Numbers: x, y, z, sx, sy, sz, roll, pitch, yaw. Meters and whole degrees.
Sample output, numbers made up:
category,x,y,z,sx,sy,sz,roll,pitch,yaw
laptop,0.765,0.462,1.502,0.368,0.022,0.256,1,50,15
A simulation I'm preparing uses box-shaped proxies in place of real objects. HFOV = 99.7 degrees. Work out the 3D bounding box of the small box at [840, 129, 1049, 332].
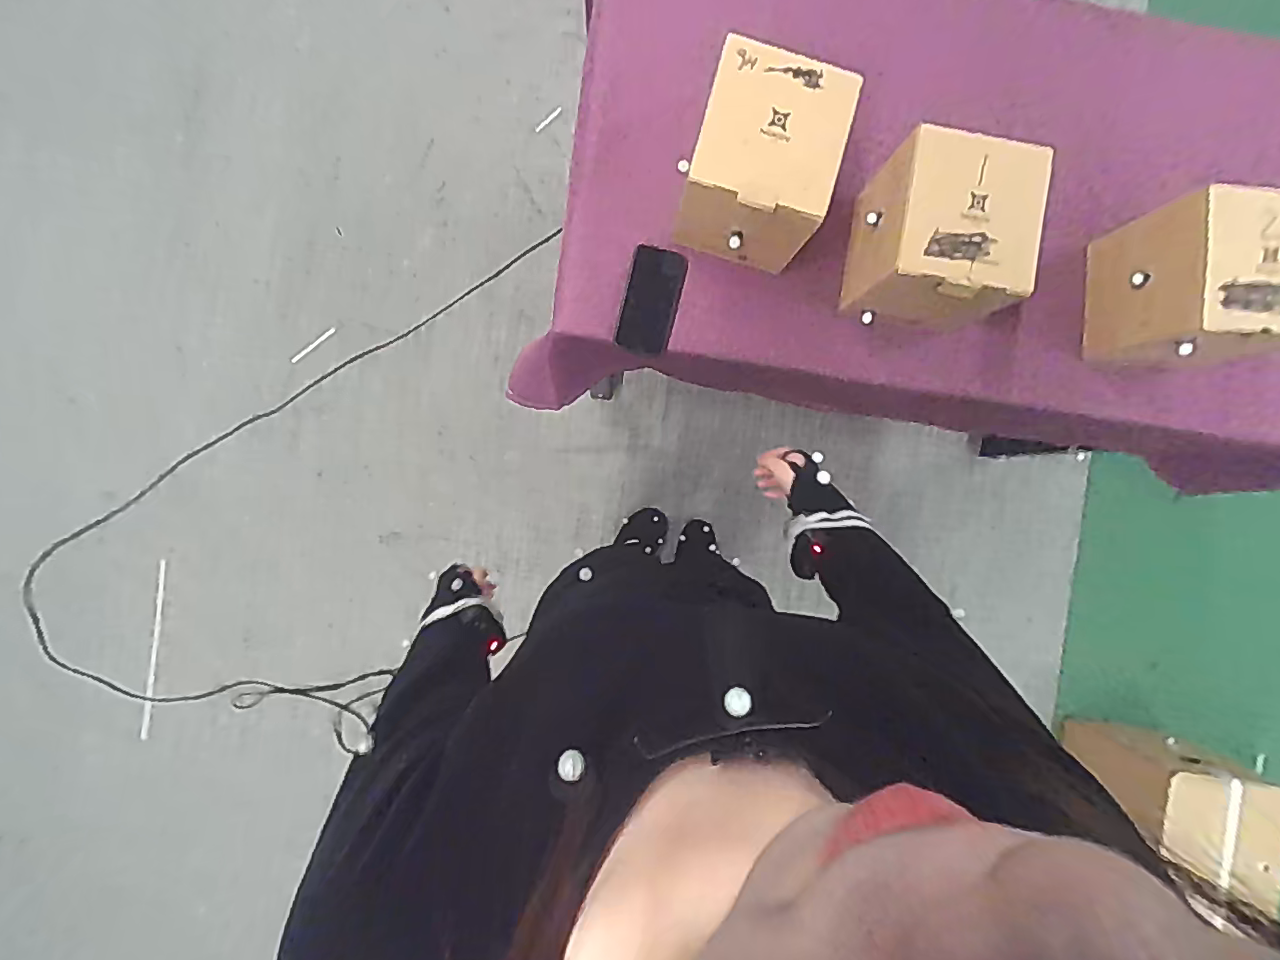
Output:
category,x,y,z,sx,sy,sz,roll,pitch,yaw
small box,0.380,-0.308,0.706,0.168,0.176,0.179,9,89,-3

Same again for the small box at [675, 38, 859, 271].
category,x,y,z,sx,sy,sz,roll,pitch,yaw
small box,0.147,-0.396,0.694,0.168,0.176,0.179,16,90,-3
